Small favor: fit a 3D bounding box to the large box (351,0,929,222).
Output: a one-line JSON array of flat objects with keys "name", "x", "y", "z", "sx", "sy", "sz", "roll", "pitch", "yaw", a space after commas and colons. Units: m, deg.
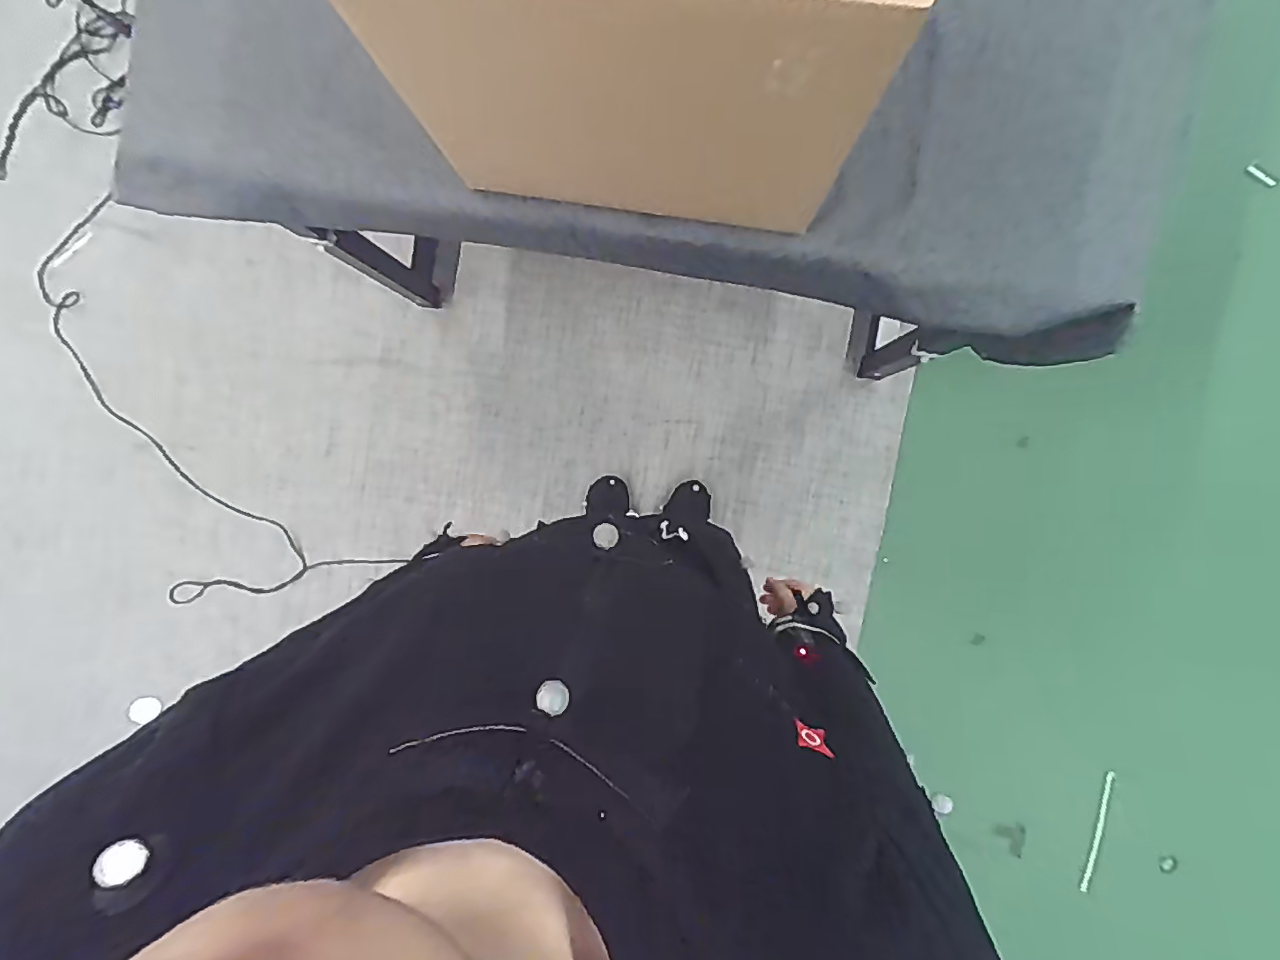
[{"name": "large box", "x": 0.008, "y": -0.467, "z": 0.477, "sx": 0.408, "sy": 0.320, "sz": 0.320, "roll": 9, "pitch": 92, "yaw": 2}]
